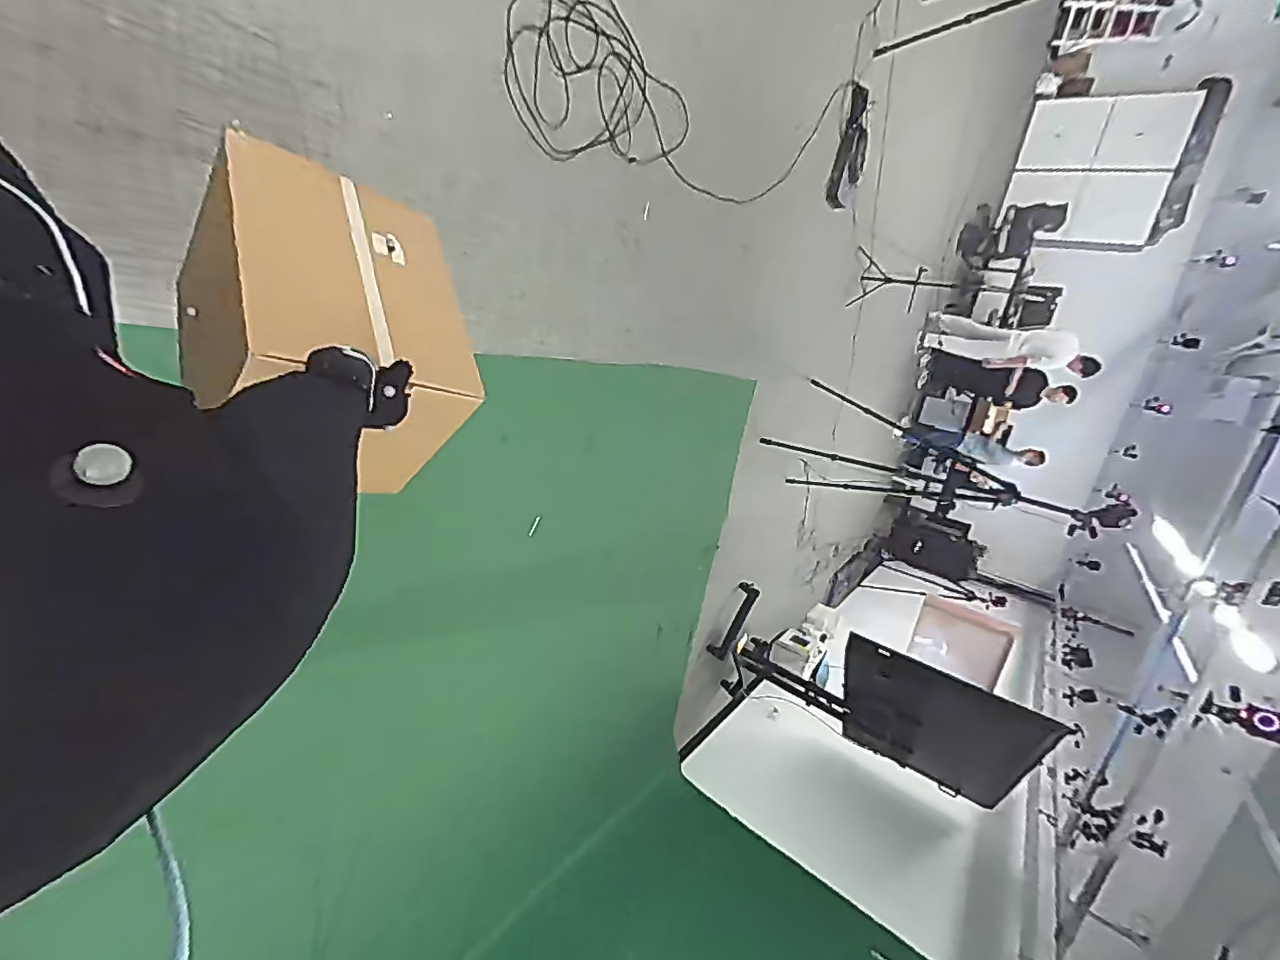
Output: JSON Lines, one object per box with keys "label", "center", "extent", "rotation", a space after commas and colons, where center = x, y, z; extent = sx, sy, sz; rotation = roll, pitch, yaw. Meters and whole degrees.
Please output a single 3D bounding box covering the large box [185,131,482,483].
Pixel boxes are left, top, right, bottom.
{"label": "large box", "center": [-0.515, -0.240, 0.888], "extent": [0.320, 0.408, 0.320], "rotation": [-35, 155, 32]}
